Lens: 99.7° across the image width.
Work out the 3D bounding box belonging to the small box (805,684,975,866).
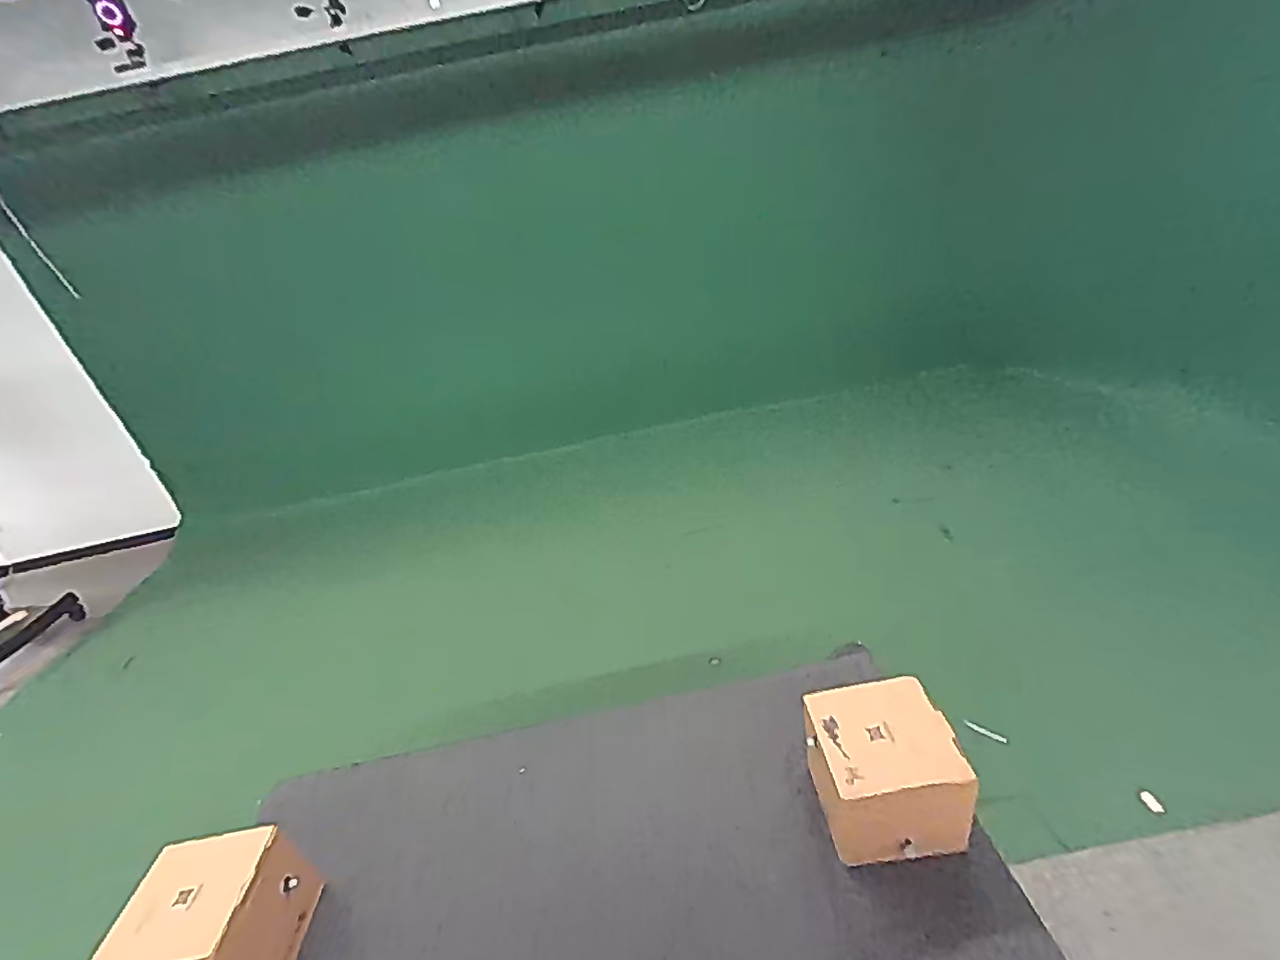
[{"bbox_3d":[0.353,0.433,0.799,0.179,0.176,0.168,-10,29,3],"label":"small box"}]

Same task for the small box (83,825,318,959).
[{"bbox_3d":[-0.605,0.633,0.770,0.179,0.176,0.168,-10,26,2],"label":"small box"}]
